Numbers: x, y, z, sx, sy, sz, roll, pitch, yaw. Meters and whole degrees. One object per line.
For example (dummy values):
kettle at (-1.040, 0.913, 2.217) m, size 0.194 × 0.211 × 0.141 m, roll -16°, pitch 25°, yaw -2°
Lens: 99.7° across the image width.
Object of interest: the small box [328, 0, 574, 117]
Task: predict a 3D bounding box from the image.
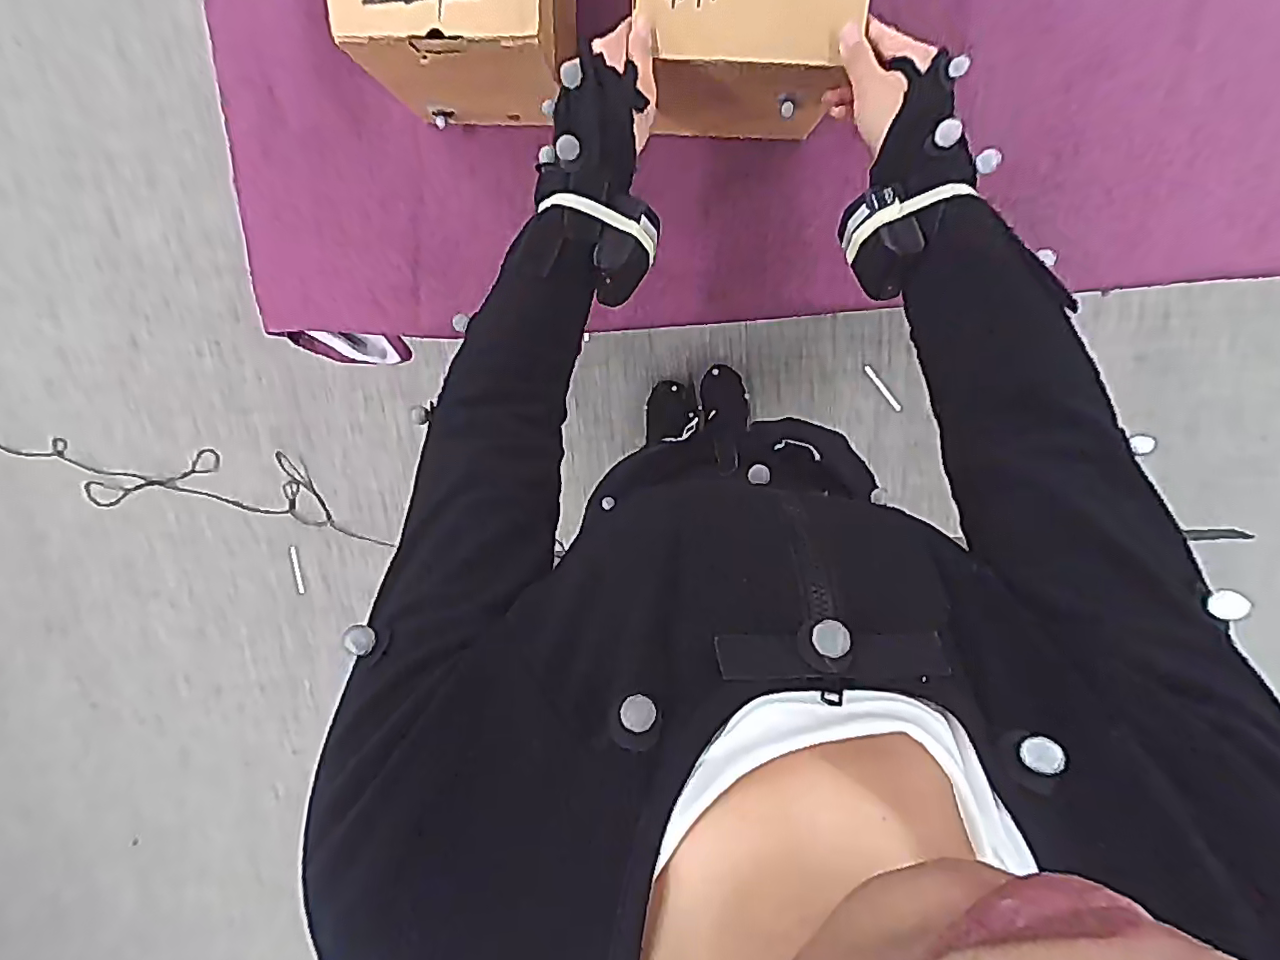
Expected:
small box at (-0.151, -0.445, 0.472) m, size 0.168 × 0.176 × 0.179 m, roll 2°, pitch 103°, yaw 2°
